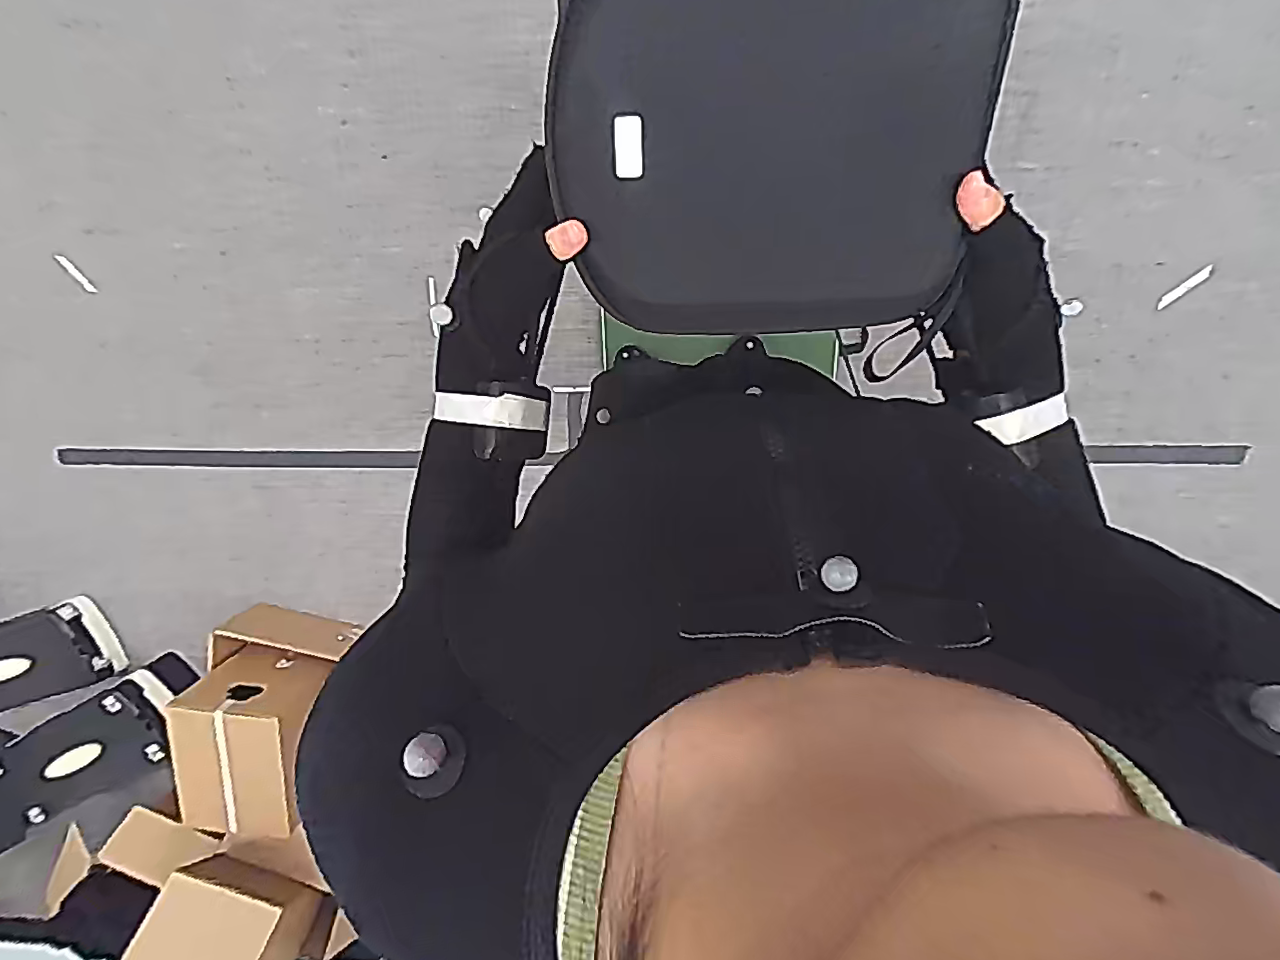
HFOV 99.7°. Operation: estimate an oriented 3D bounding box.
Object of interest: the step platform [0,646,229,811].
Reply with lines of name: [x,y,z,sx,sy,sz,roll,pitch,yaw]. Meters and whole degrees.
step platform: [-1.755,0.829,1.797,0.684,0.204,0.286,-28,102,10]
